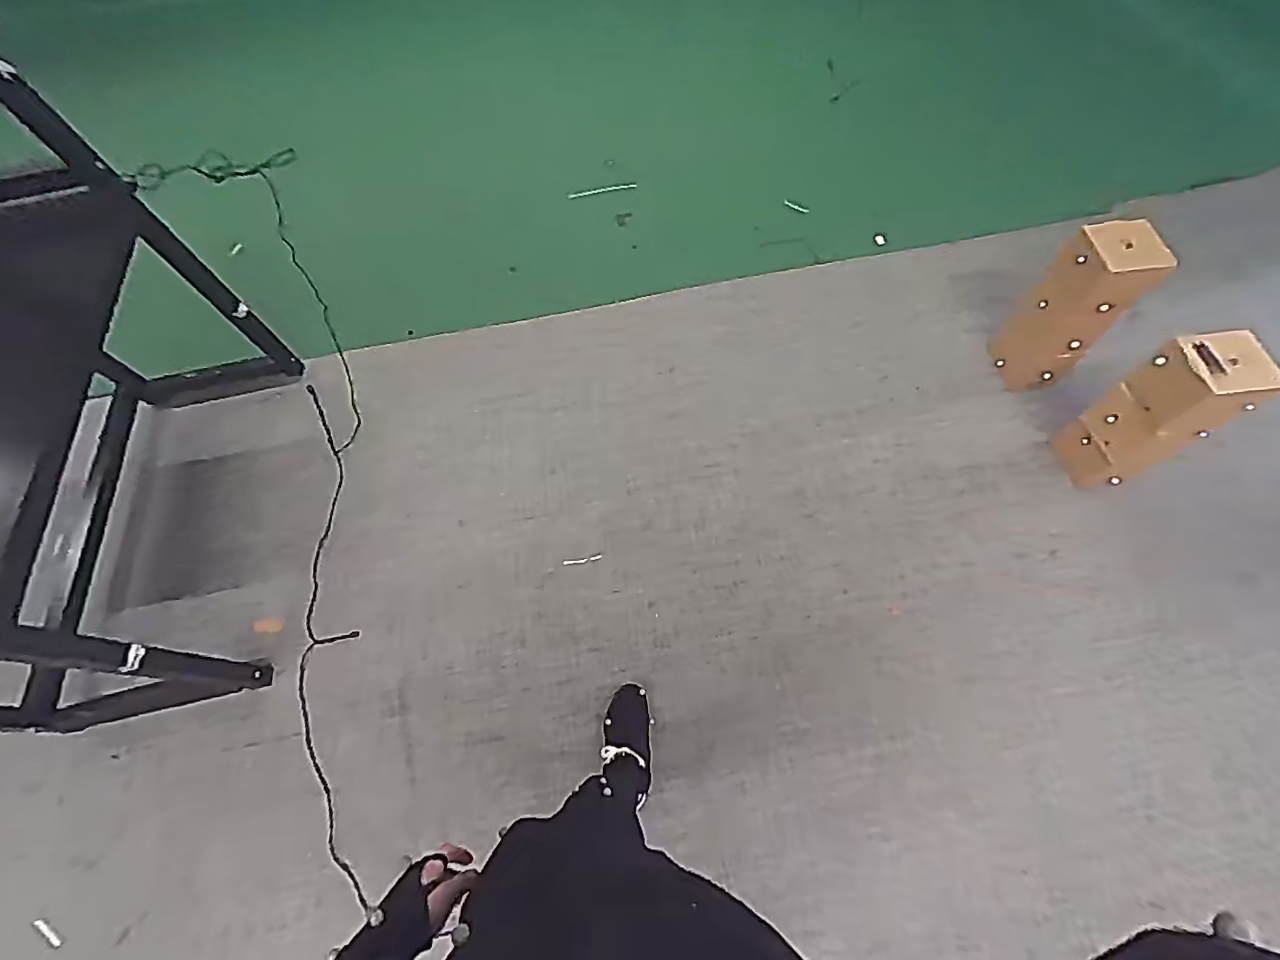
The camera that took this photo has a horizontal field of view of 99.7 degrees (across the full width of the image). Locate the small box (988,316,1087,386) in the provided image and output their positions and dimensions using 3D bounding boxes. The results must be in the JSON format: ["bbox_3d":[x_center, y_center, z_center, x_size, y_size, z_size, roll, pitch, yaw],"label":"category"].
[{"bbox_3d":[1.278,-0.421,1.755,0.168,0.176,0.179,-8,64,0],"label":"small box"}]

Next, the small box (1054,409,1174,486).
[{"bbox_3d":[1.375,-0.102,1.586,0.168,0.176,0.179,-10,64,0],"label":"small box"}]

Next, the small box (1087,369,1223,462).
[{"bbox_3d":[1.349,-0.166,1.439,0.179,0.176,0.168,-13,63,-2],"label":"small box"}]

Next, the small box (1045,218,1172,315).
[{"bbox_3d":[1.254,-0.575,1.466,0.168,0.176,0.179,-6,64,2],"label":"small box"}]

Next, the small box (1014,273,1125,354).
[{"bbox_3d":[1.265,-0.501,1.611,0.168,0.176,0.179,-7,64,1],"label":"small box"}]
